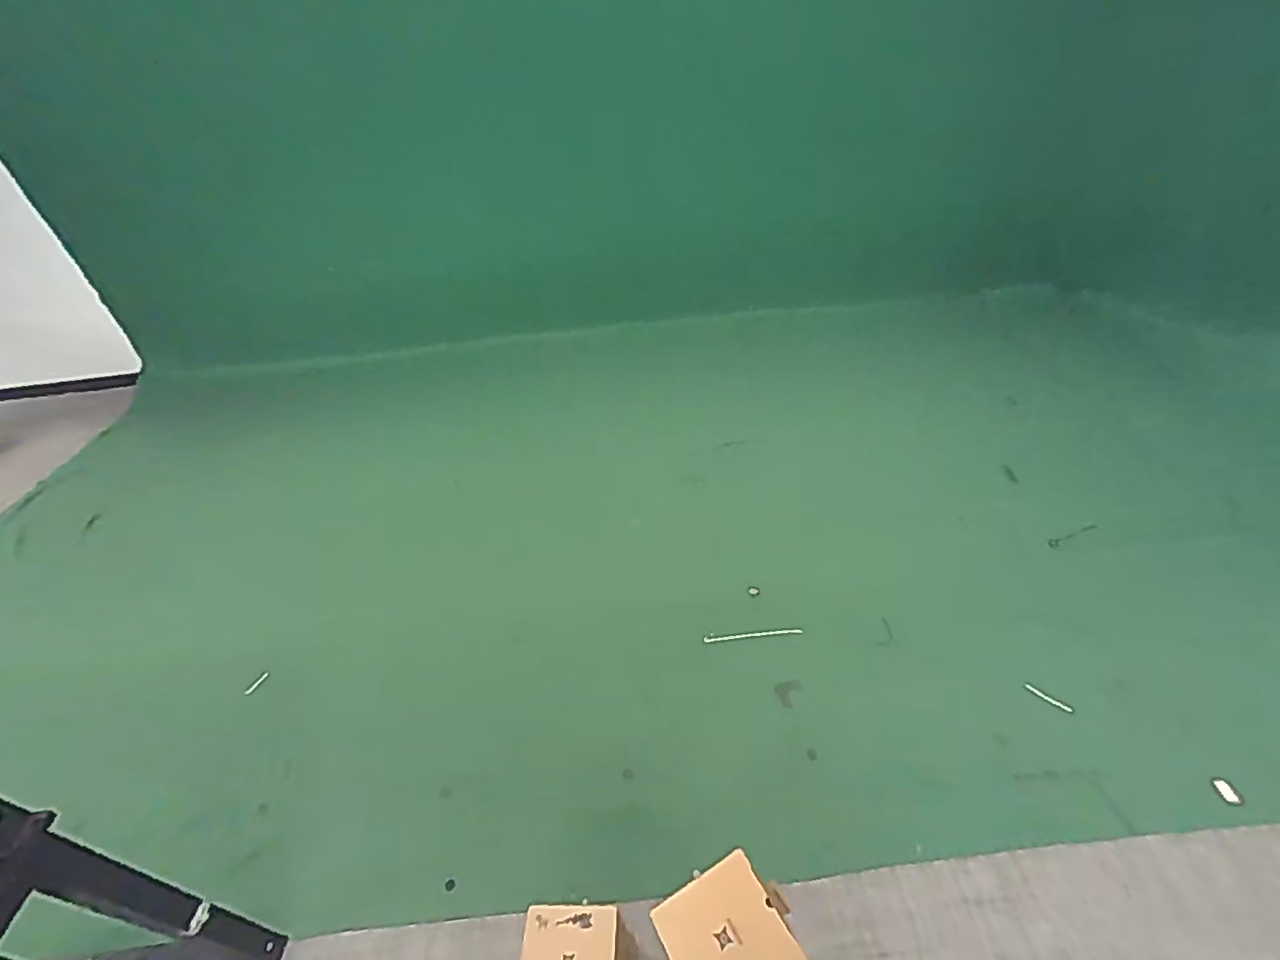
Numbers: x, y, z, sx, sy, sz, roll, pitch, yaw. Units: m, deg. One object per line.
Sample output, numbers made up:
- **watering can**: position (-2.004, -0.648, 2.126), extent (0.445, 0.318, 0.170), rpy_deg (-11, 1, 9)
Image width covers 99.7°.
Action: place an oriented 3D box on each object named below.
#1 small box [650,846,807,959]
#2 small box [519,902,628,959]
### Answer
- **small box**: position (0.134, 0.728, 0.845), extent (0.179, 0.176, 0.168), rpy_deg (-22, 44, -19)
- **small box**: position (-0.114, 0.875, 0.953), extent (0.168, 0.176, 0.179), rpy_deg (-3, 40, 6)
